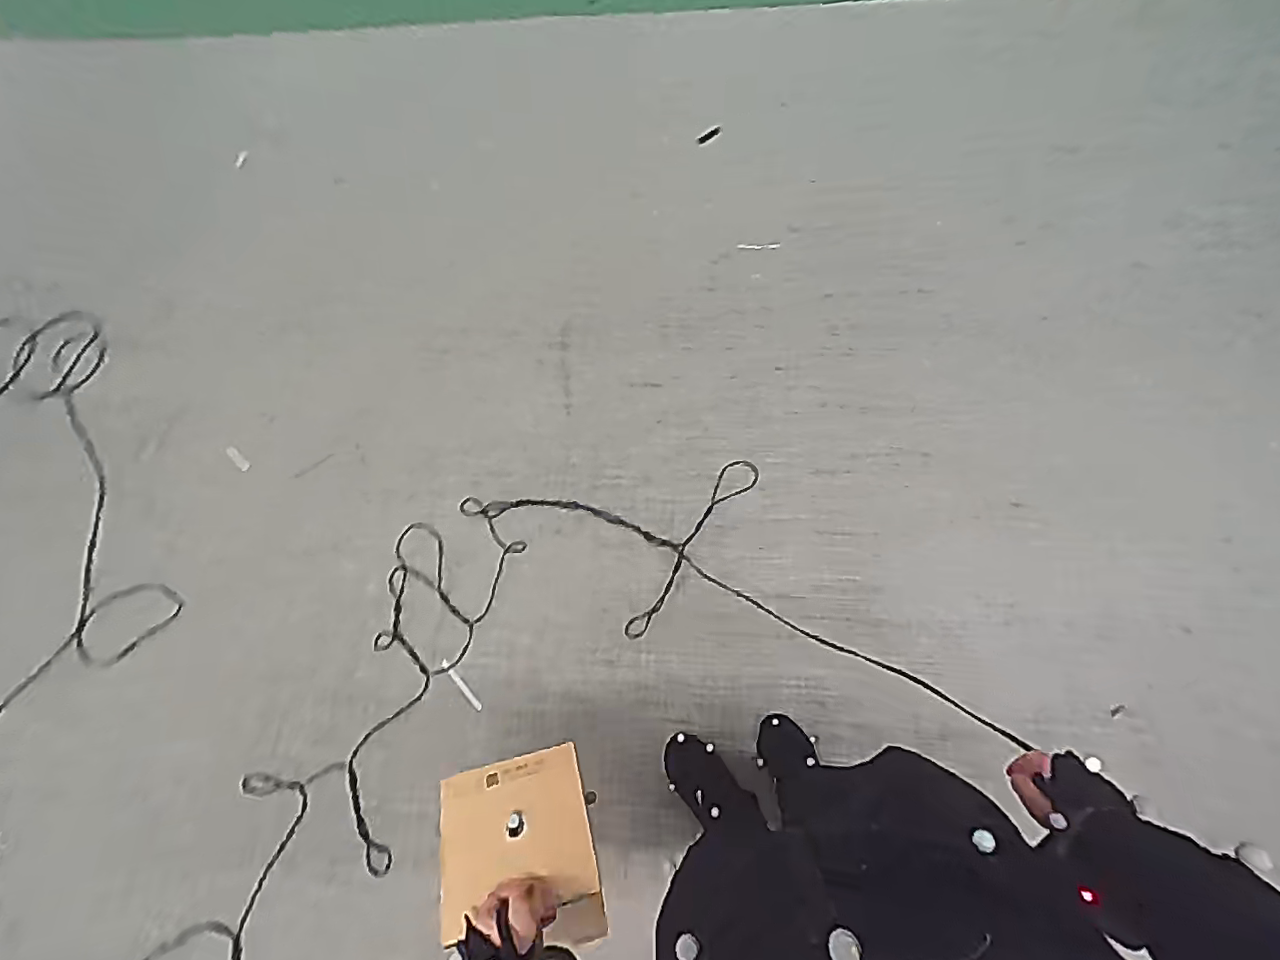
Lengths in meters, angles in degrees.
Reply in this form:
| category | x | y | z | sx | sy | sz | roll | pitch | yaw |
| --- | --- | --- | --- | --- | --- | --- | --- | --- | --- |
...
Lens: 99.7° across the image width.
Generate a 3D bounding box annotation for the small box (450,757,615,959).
| category | x | y | z | sx | sy | sz | roll | pitch | yaw |
| --- | --- | --- | --- | --- | --- | --- | --- | --- | --- |
| small box | -0.132 | 0.468 | 0.662 | 0.168 | 0.179 | 0.176 | -10 | 38 | -13 |
